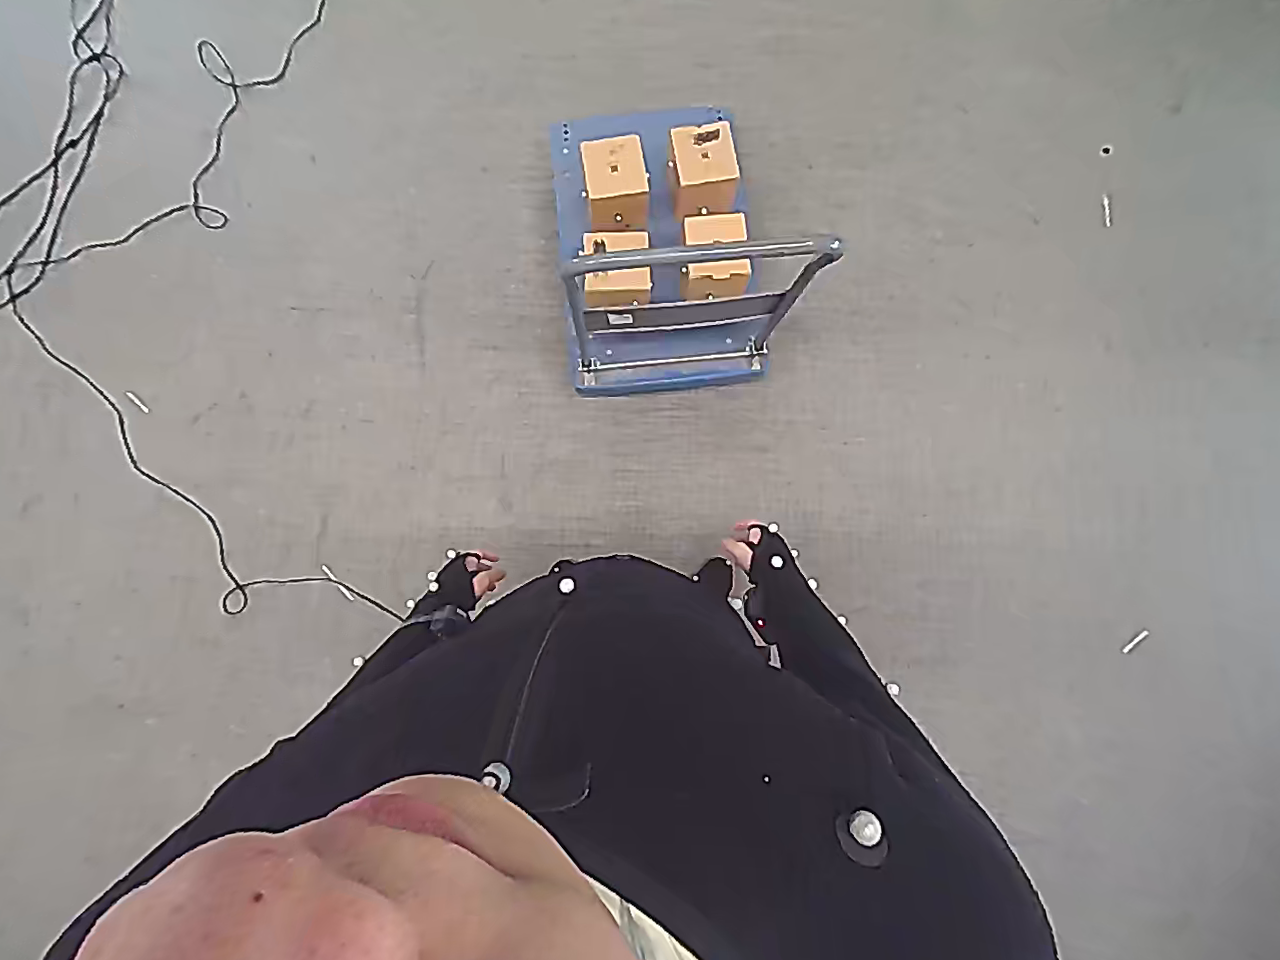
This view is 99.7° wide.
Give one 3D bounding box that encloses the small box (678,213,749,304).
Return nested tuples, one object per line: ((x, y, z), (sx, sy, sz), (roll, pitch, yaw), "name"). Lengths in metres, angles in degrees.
((0.203, -0.622, 1.529), (0.168, 0.176, 0.179), (-5, 82, -1), "small box")

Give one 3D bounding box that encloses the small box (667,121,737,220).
((0.174, -0.889, 1.565), (0.168, 0.176, 0.179), (-9, 83, -1), "small box")

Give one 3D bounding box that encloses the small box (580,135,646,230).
((-0.074, -0.846, 1.557), (0.168, 0.176, 0.179), (-9, 82, -3), "small box")
